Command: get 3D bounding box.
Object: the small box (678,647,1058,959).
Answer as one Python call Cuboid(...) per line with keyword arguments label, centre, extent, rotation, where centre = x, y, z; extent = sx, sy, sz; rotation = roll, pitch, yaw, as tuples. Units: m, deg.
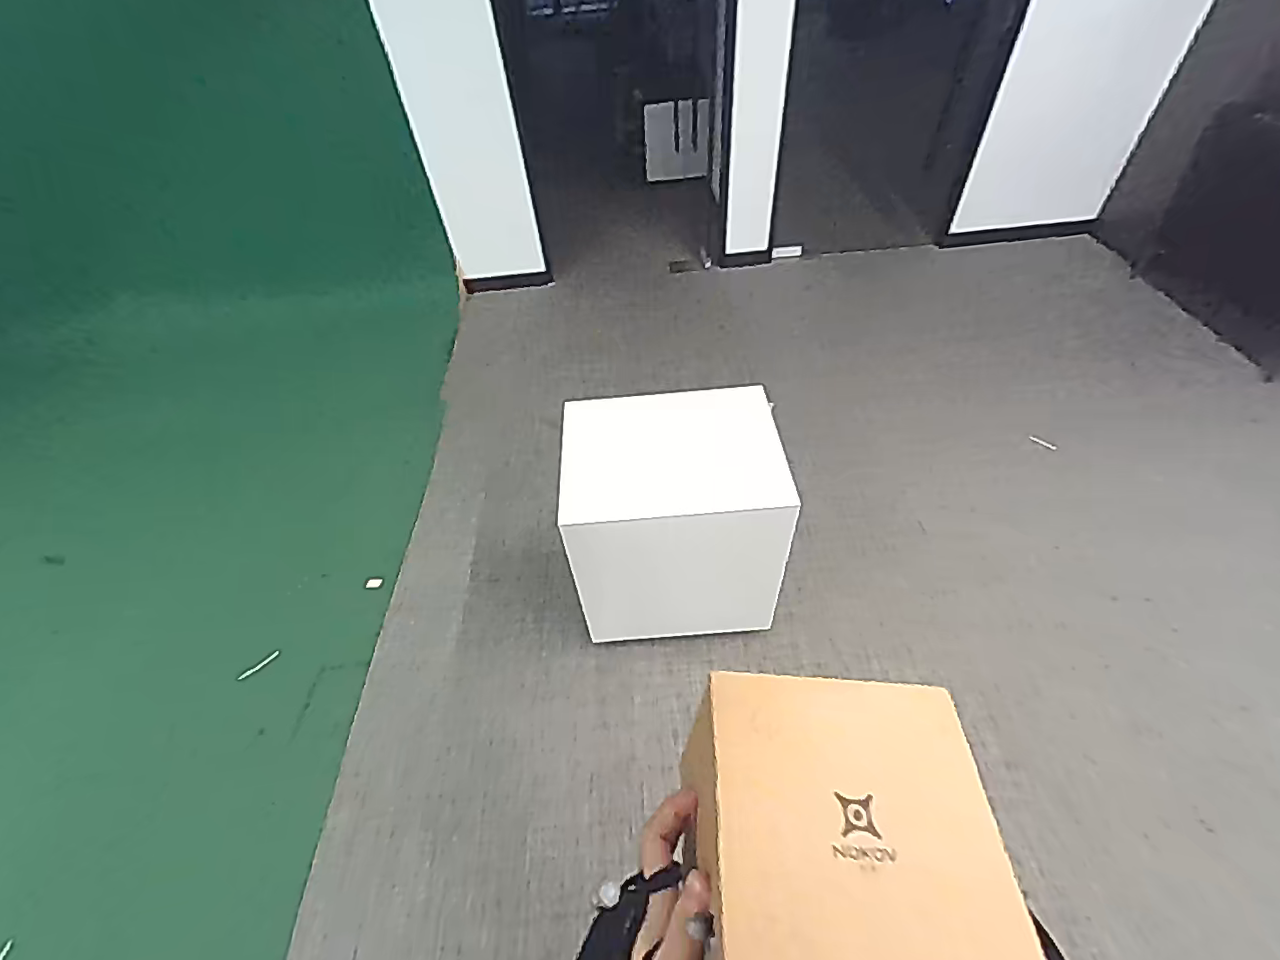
Cuboid(label="small box", centre=(0.115, 0.236, 0.361), extent=(0.168, 0.176, 0.179), rotation=(3, 44, -1))
